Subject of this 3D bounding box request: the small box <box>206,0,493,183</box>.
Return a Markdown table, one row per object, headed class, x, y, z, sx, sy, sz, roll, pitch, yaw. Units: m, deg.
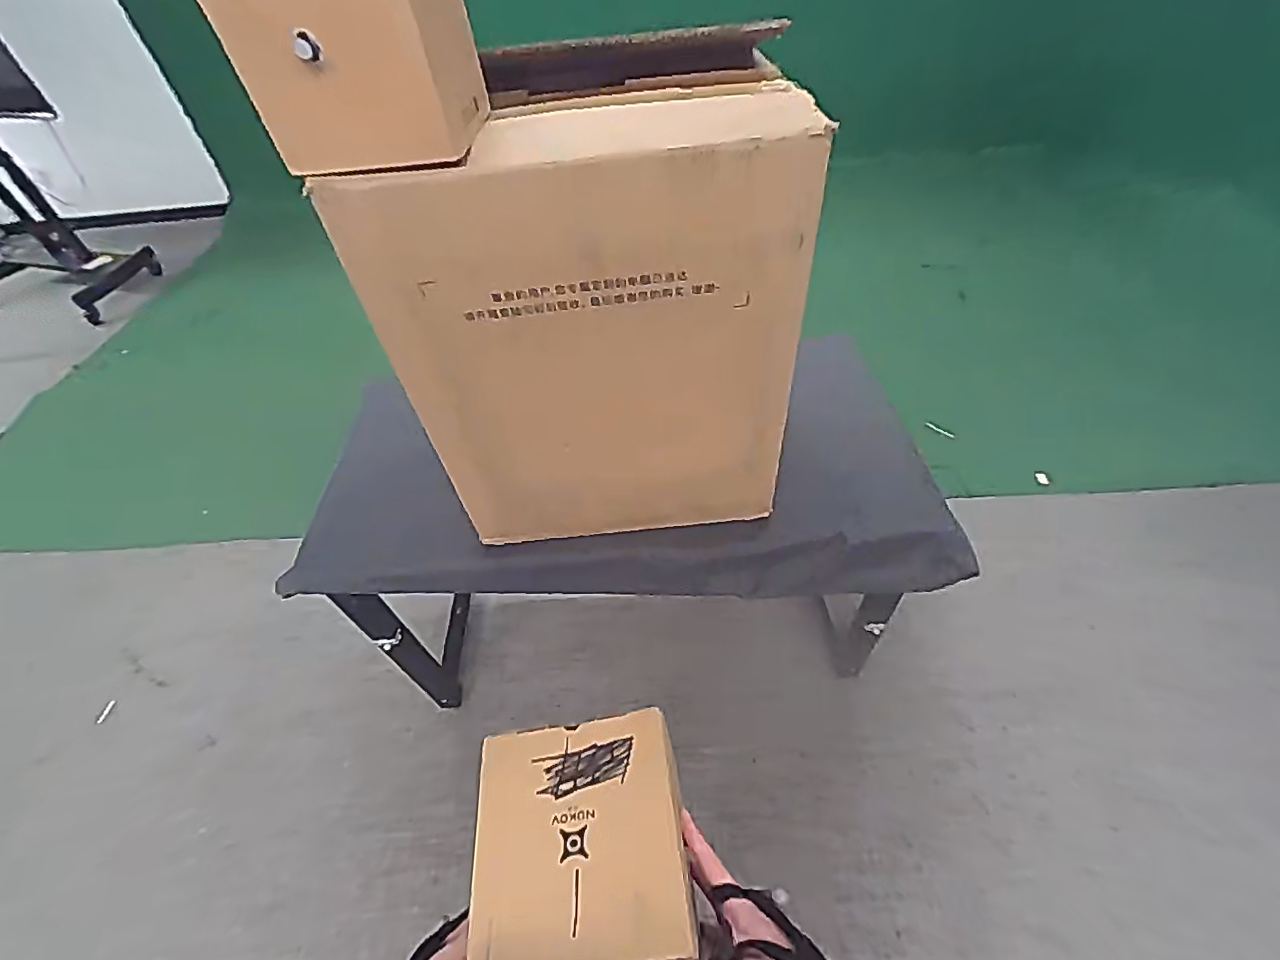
| class | x | y | z | sx | sy | sz | roll | pitch | yaw |
| --- | --- | --- | --- | --- | --- | --- | --- | --- | --- |
| small box | -0.265 | -0.411 | 0.529 | 0.179 | 0.176 | 0.168 | -4 | 49 | 5 |
